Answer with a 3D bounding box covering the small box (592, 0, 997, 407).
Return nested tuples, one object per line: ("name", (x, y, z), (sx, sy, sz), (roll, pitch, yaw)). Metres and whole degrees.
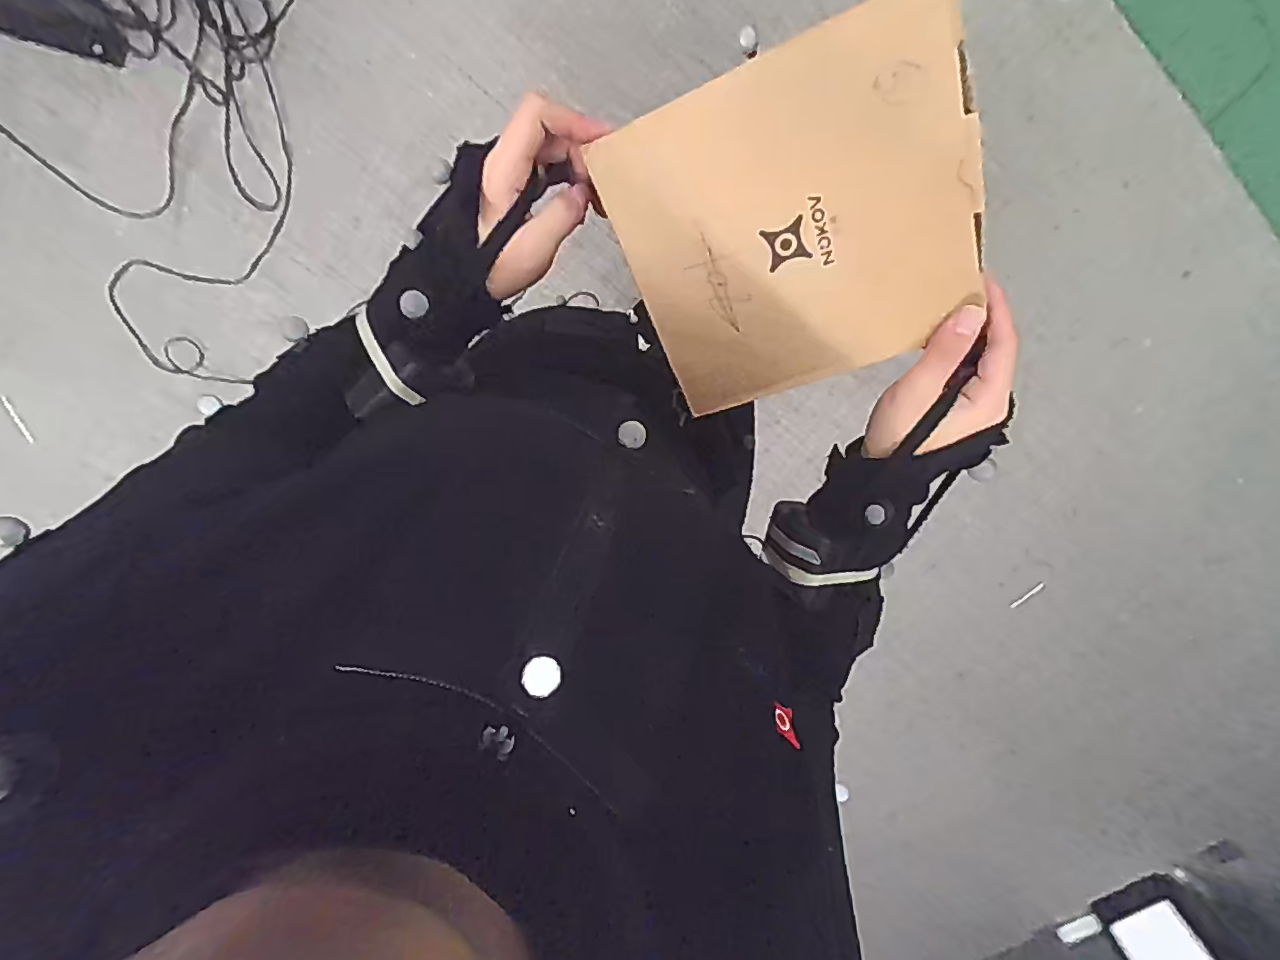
("small box", (0.094, -0.179, 0.350), (0.179, 0.176, 0.168), (-17, 120, 21))
